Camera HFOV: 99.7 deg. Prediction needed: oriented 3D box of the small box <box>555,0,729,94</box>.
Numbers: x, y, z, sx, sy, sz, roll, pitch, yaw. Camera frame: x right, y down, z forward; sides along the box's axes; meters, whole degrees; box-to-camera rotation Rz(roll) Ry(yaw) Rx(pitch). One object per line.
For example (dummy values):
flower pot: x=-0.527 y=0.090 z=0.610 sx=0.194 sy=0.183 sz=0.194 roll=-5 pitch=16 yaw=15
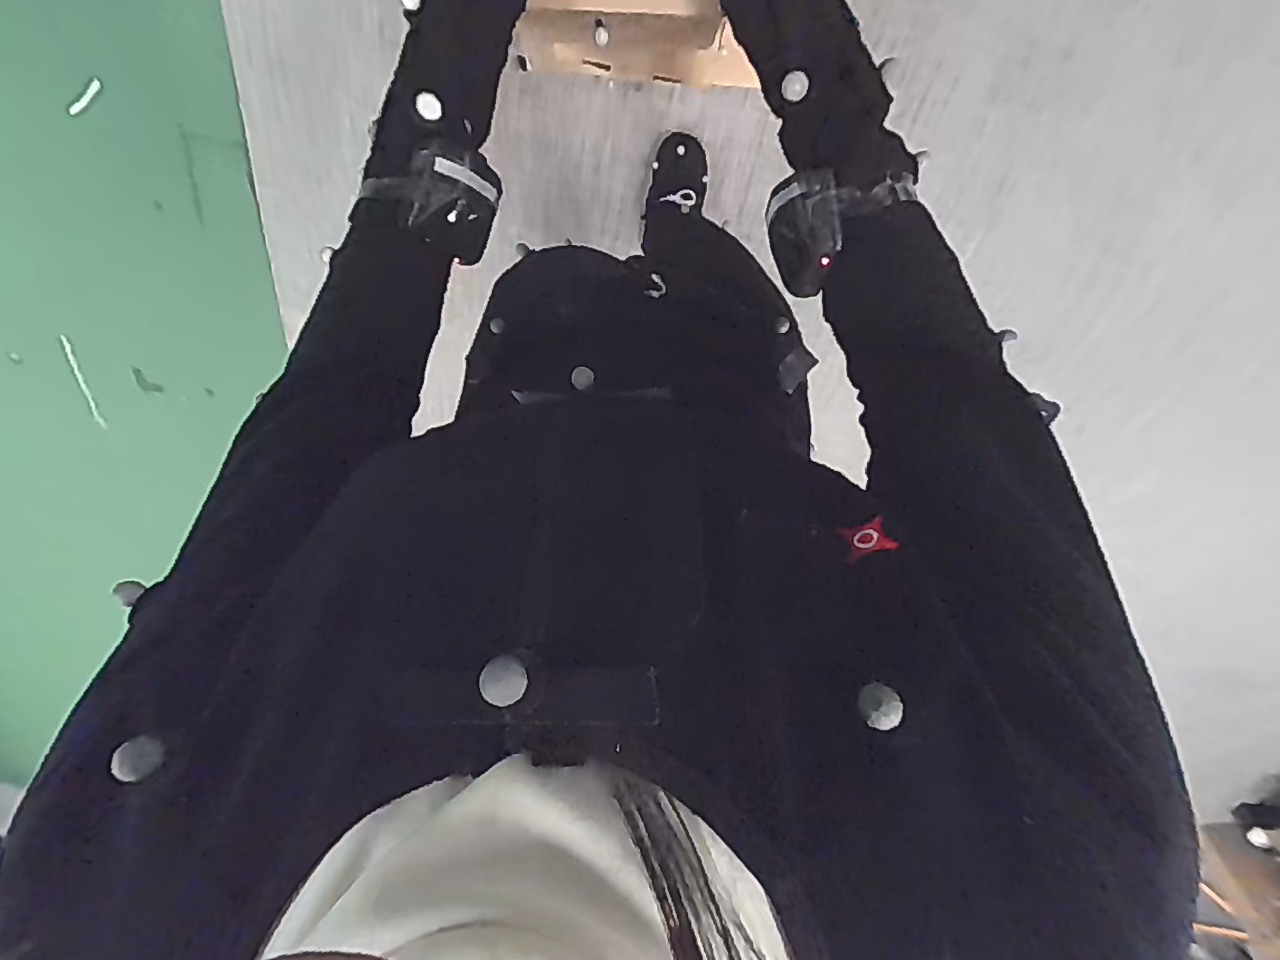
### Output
small box: x=0.014 y=-0.534 z=0.571 sx=0.168 sy=0.176 sz=0.179 roll=11 pitch=128 yaw=-1

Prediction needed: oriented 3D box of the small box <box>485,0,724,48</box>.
small box: x=-0.020 y=-0.445 z=0.411 sx=0.179 sy=0.176 sz=0.168 roll=3 pitch=122 yaw=1
